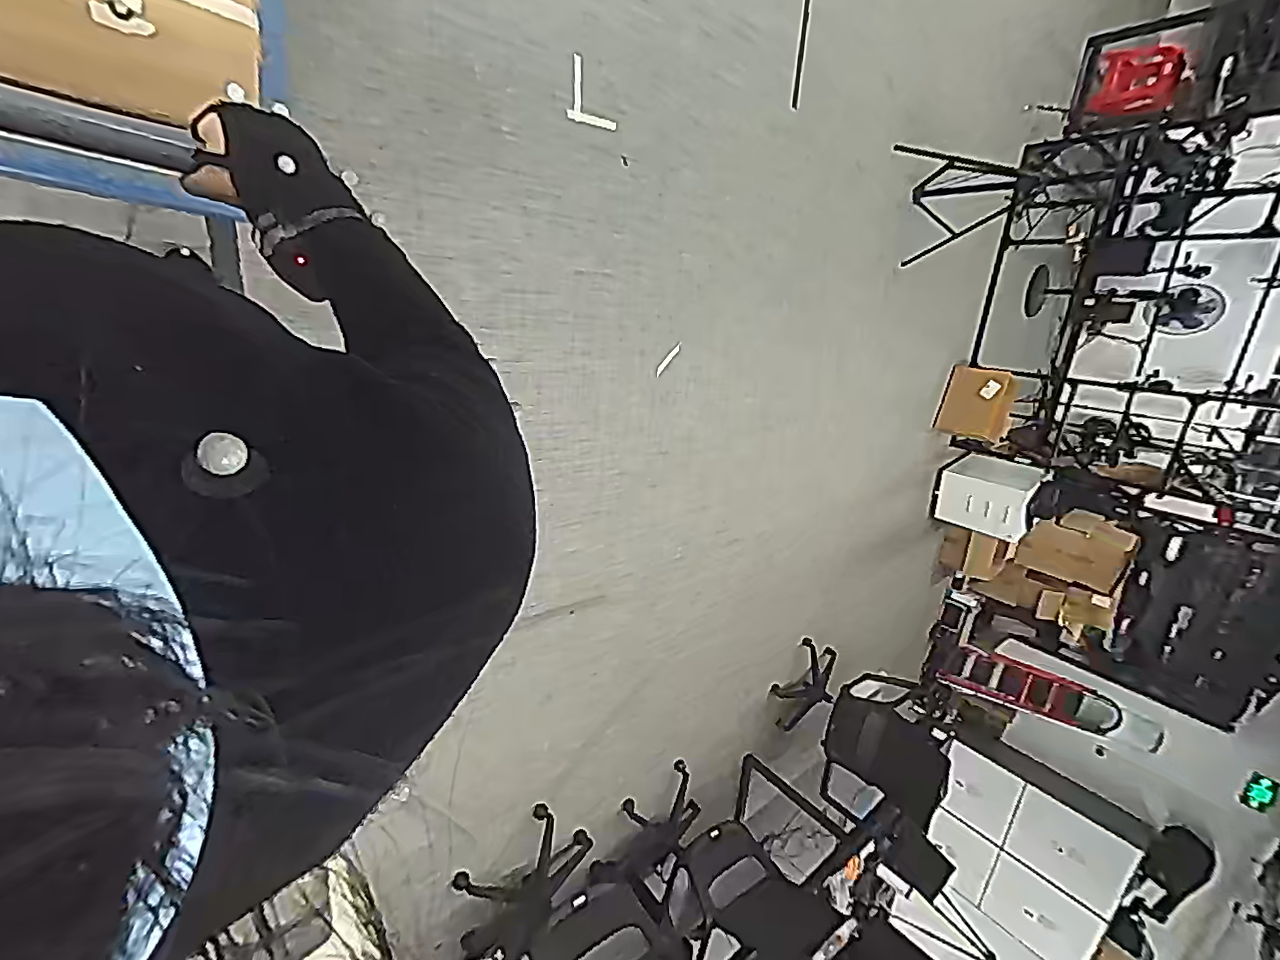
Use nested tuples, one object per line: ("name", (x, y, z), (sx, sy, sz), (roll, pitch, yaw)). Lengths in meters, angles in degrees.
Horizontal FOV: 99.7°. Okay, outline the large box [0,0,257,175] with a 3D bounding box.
("large box", (-0.775, -0.635, 0.703), (0.408, 0.320, 0.320), (-6, 111, -42))
